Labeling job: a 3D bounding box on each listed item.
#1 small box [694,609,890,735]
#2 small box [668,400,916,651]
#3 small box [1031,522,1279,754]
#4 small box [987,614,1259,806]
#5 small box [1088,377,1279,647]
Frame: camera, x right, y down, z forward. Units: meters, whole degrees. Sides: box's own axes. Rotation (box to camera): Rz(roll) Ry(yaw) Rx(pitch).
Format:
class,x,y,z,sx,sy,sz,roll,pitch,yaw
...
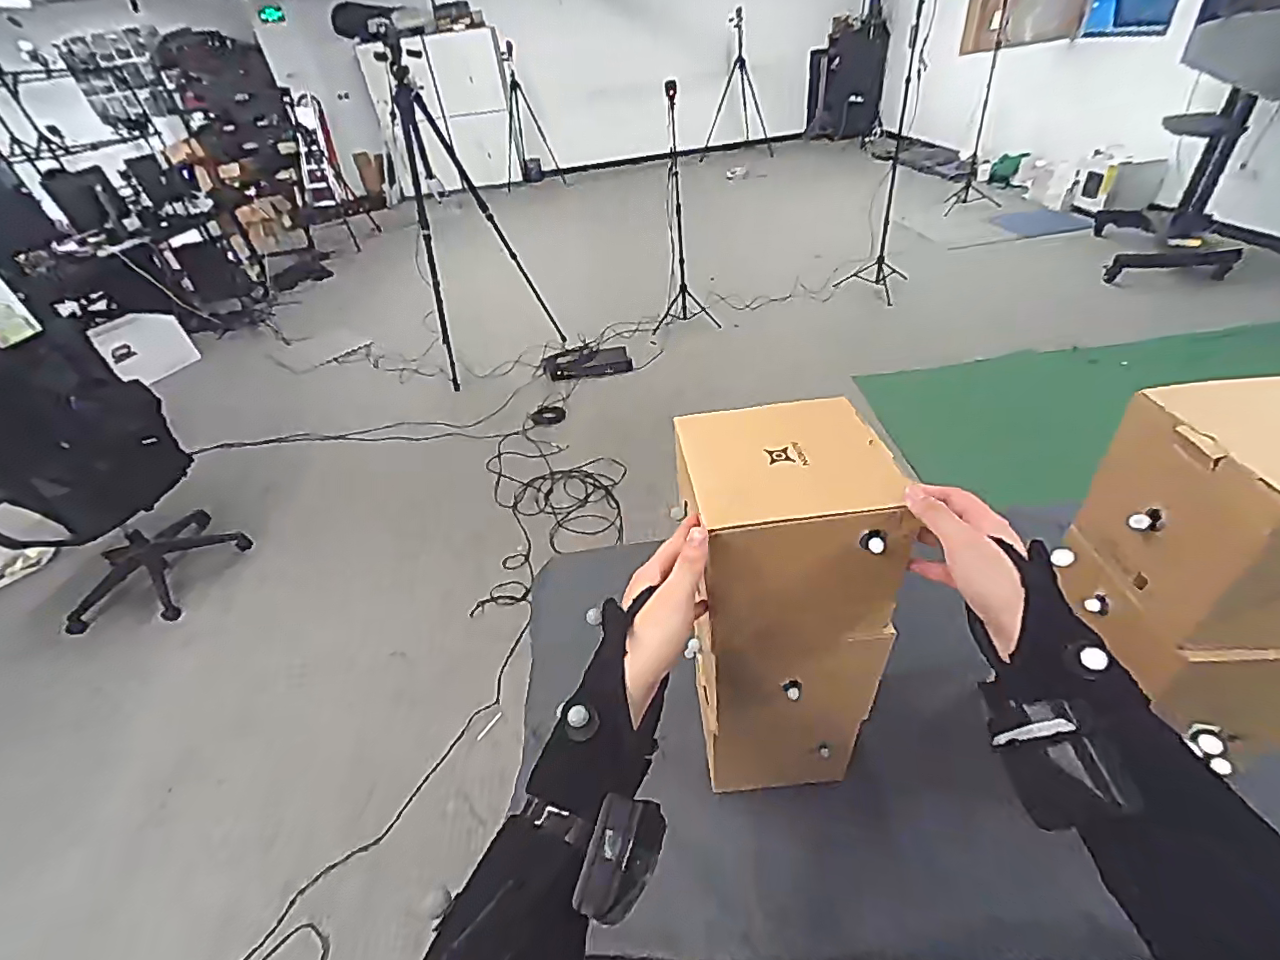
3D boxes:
class,x,y,z,sx,sy,sz,roll,pitch,yaw
small box,0.155,0.170,0.622,0.179,0.176,0.168,-7,39,1
small box,0.128,0.045,0.521,0.179,0.176,0.168,-8,39,-1
small box,0.552,0.157,0.560,0.168,0.176,0.179,-5,39,7
small box,0.573,0.280,0.666,0.179,0.176,0.168,-5,37,5
small box,0.532,0.028,0.462,0.179,0.176,0.168,-4,38,9
